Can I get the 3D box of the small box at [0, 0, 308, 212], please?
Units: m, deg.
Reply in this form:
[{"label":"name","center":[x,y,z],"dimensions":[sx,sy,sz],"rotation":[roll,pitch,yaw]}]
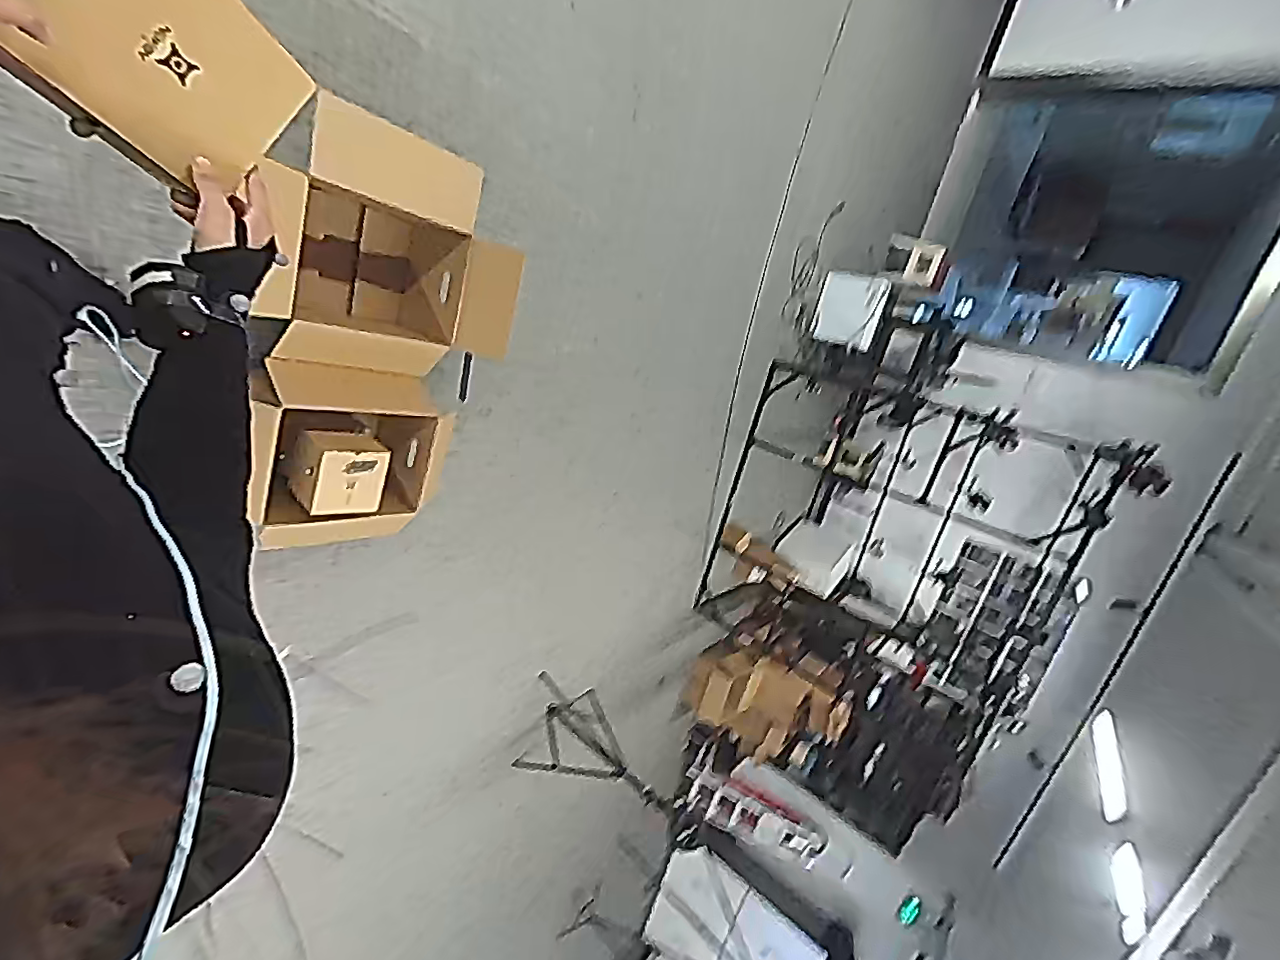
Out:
[{"label":"small box","center":[-0.469,-0.392,0.506],"dimensions":[0.168,0.176,0.179],"rotation":[-58,148,-5]}]
